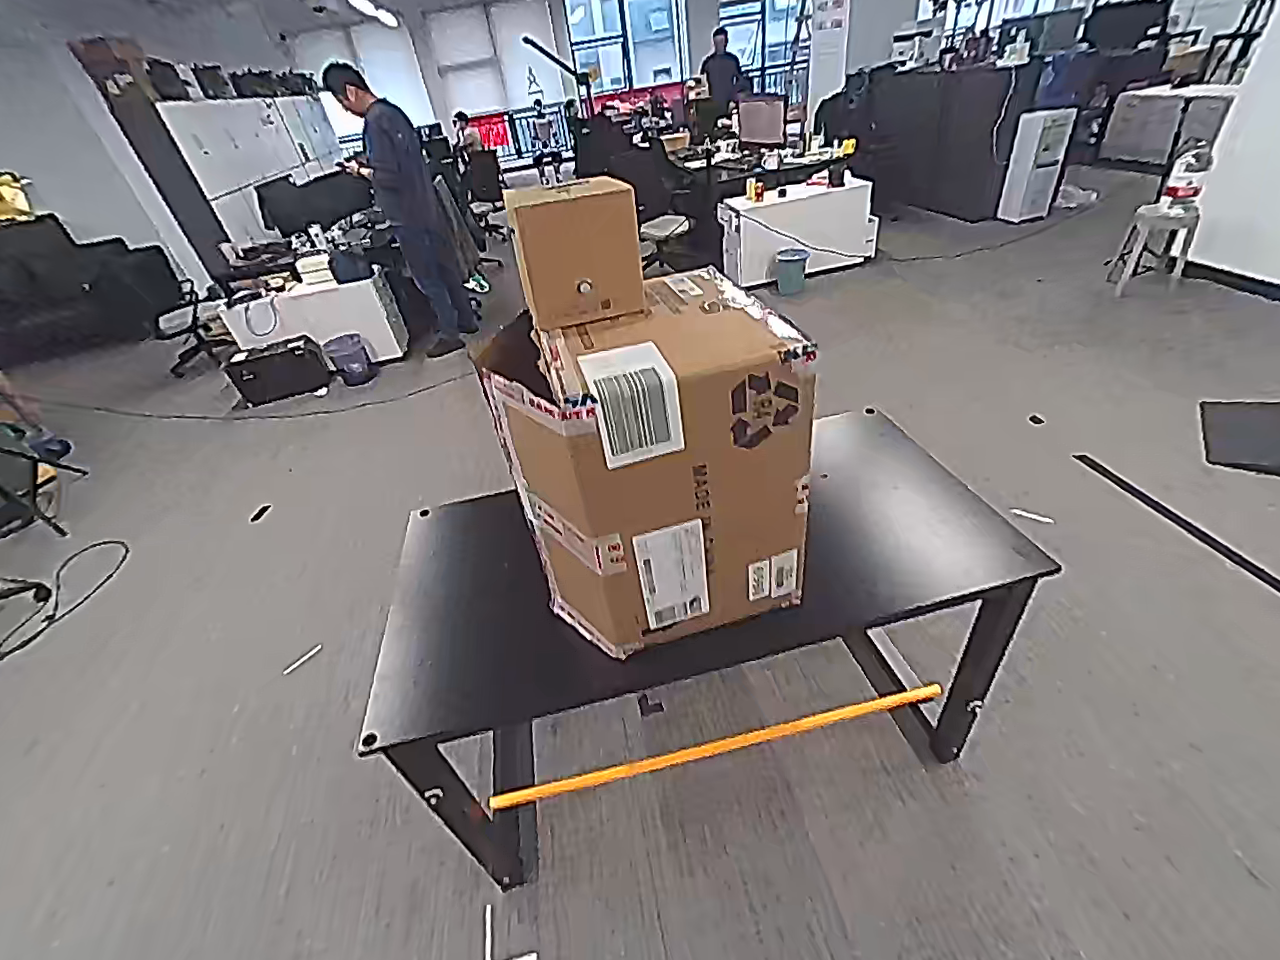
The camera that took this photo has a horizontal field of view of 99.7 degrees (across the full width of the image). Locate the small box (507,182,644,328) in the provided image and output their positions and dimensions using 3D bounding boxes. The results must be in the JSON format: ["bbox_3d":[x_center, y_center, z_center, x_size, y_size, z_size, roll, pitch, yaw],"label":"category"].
[{"bbox_3d":[-0.099,-0.346,0.827,0.168,0.176,0.179,-15,36,-10],"label":"small box"}]
